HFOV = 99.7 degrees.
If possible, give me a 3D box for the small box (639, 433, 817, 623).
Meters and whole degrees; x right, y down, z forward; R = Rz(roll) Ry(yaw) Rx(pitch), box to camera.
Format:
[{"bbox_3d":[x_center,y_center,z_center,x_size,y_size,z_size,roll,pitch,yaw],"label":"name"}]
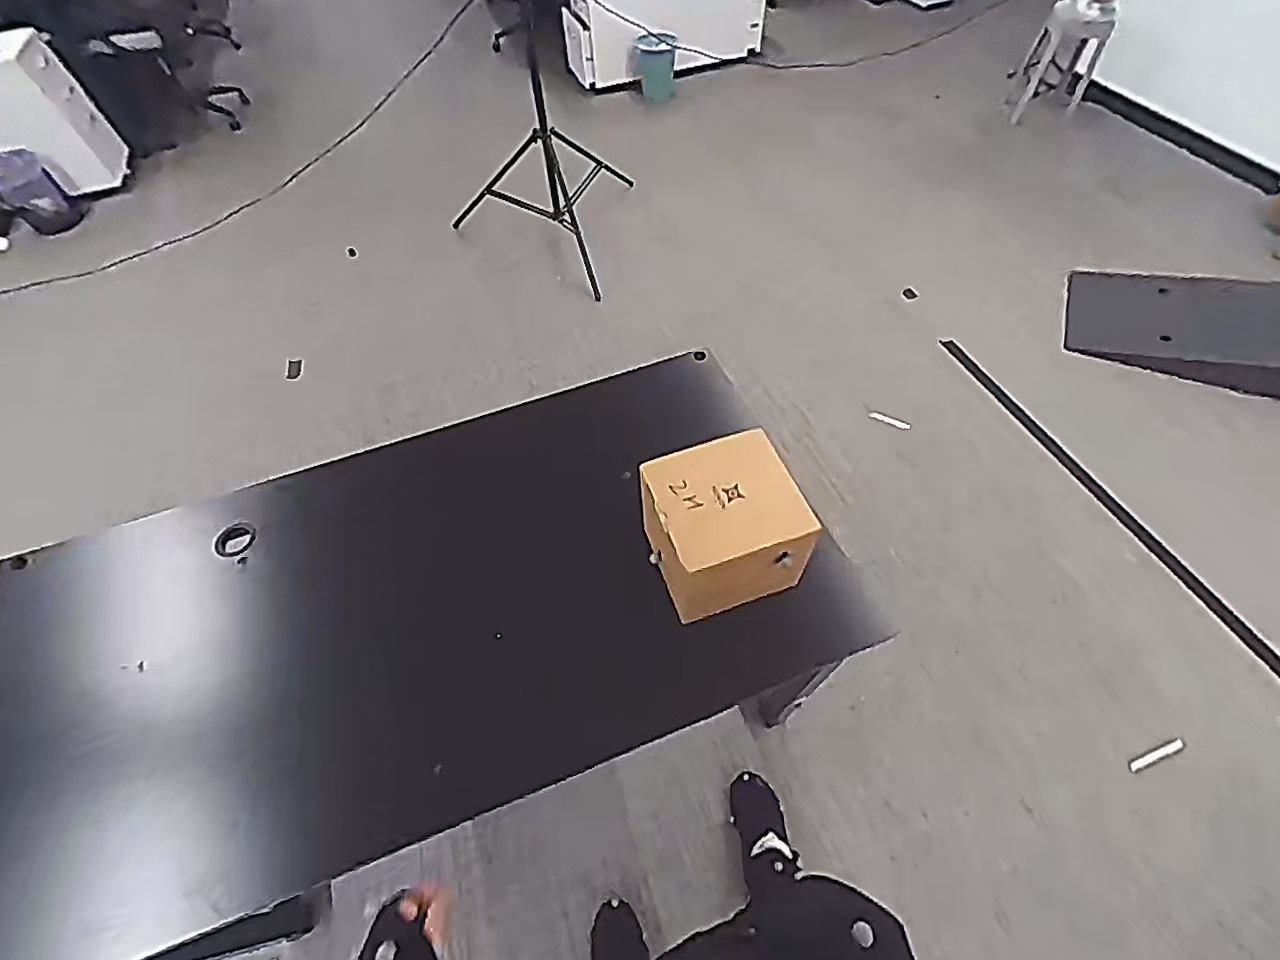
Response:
[{"bbox_3d":[0.107,0.069,0.731,0.179,0.176,0.168,-17,56,-8],"label":"small box"}]
